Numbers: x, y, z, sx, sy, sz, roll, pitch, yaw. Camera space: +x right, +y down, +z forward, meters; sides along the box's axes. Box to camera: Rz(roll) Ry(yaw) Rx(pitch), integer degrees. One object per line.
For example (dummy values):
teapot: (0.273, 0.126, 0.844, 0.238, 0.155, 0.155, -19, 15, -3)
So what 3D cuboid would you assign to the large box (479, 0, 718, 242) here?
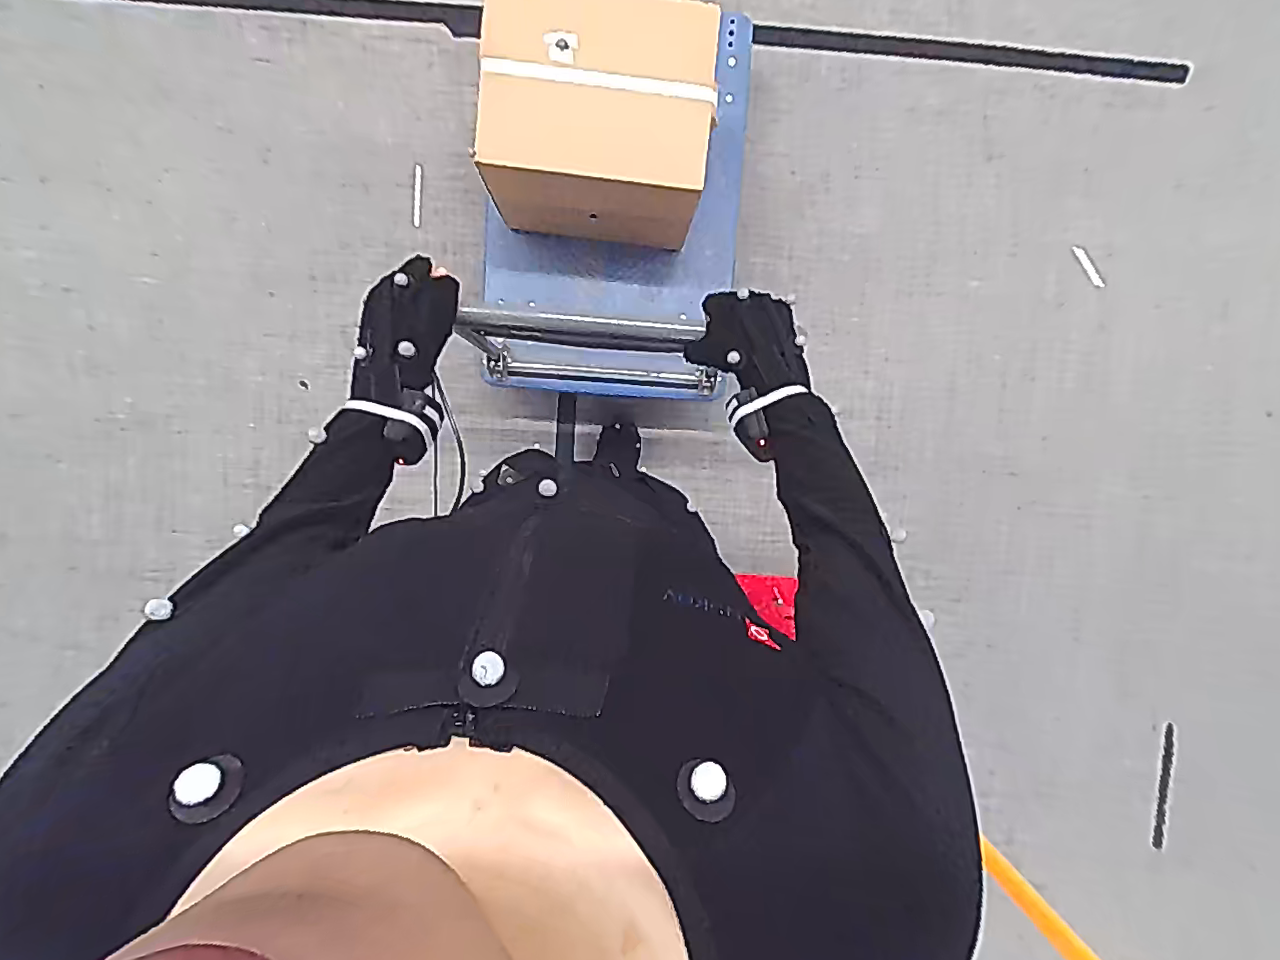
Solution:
large box: (-0.075, -0.699, 1.088, 0.408, 0.320, 0.320, 5, 94, -2)

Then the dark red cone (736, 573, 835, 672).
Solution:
dark red cone: (0.374, 0.369, 1.315, 0.201, 0.394, 0.202, 3, 95, -4)
